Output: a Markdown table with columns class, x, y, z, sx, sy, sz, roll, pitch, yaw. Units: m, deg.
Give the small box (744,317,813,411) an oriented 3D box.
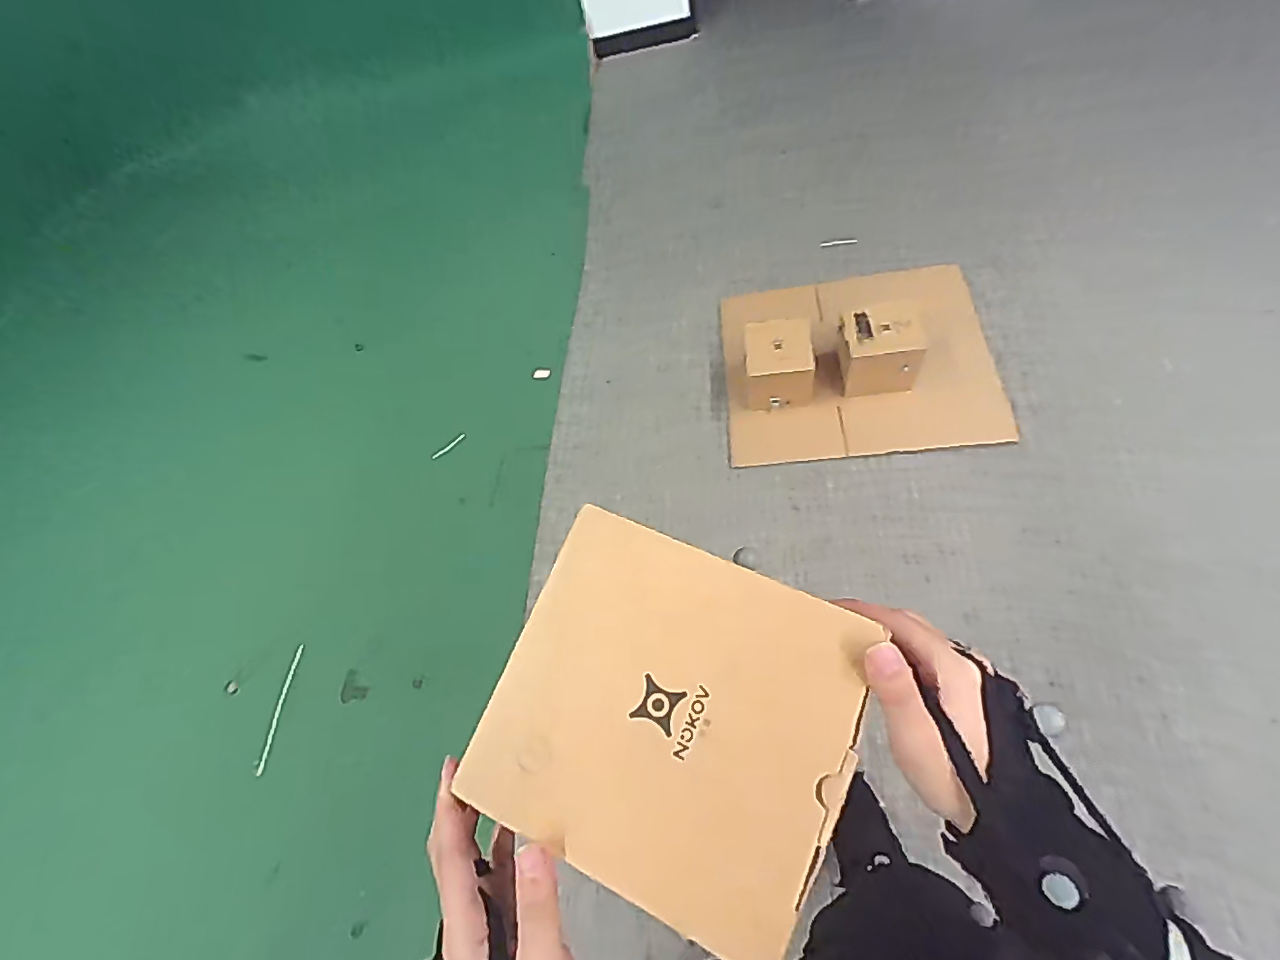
| class | x | y | z | sx | sy | sz | roll | pitch | yaw |
| --- | --- | --- | --- | --- | --- | --- | --- | --- | --- |
| small box | 0.368 | -0.309 | 1.456 | 0.168 | 0.176 | 0.179 | -5 | 64 | 12 |
